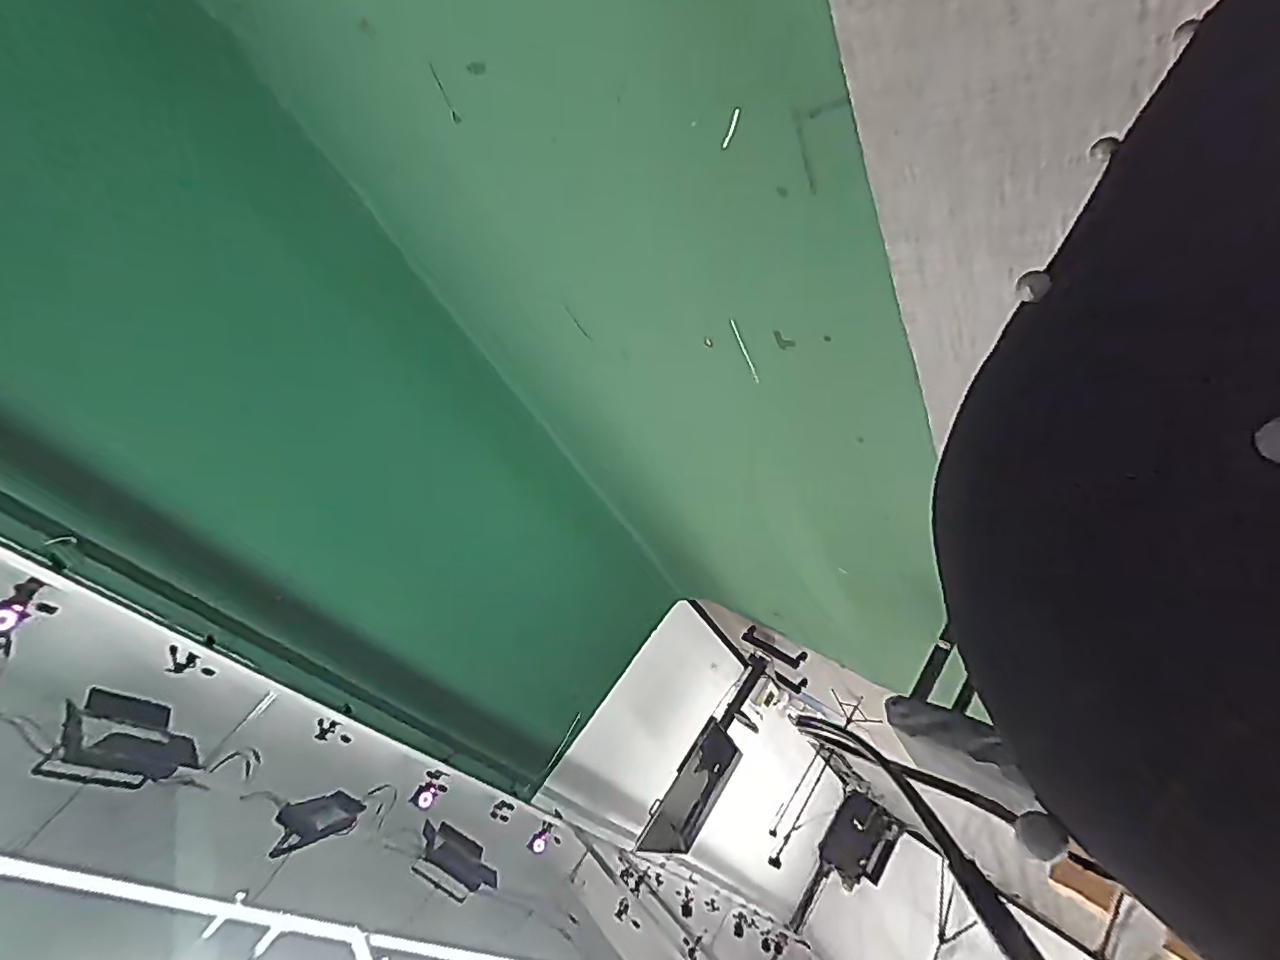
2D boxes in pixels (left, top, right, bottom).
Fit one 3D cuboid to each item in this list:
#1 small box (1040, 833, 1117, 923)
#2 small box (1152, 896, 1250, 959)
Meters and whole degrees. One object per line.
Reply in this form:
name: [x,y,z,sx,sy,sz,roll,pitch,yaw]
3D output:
small box: [1.484,1.340,1.830,0.168,0.176,0.179,17,150,49]
small box: [1.667,1.397,1.608,0.179,0.176,0.168,17,151,52]
